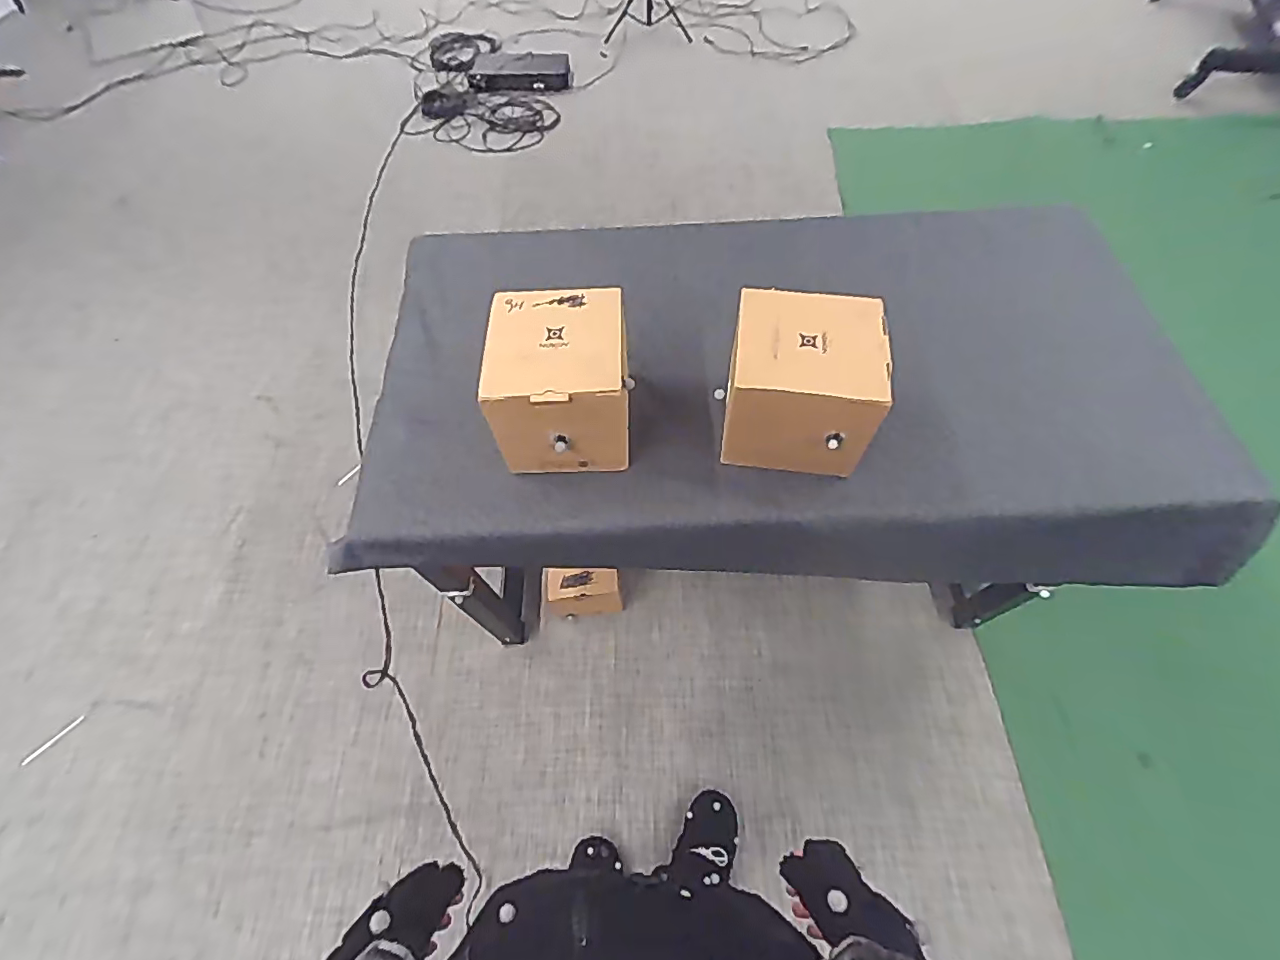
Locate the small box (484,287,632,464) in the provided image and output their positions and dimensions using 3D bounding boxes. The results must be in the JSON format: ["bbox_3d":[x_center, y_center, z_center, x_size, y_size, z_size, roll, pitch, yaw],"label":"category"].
[{"bbox_3d":[-0.095,-0.131,0.724,0.168,0.176,0.179,-1,61,1],"label":"small box"}]

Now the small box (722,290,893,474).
[{"bbox_3d":[0.210,-0.122,0.712,0.179,0.176,0.168,7,61,7],"label":"small box"}]

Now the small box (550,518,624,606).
[{"bbox_3d":[-0.131,0.214,1.368,0.168,0.176,0.179,-5,61,-1],"label":"small box"}]
